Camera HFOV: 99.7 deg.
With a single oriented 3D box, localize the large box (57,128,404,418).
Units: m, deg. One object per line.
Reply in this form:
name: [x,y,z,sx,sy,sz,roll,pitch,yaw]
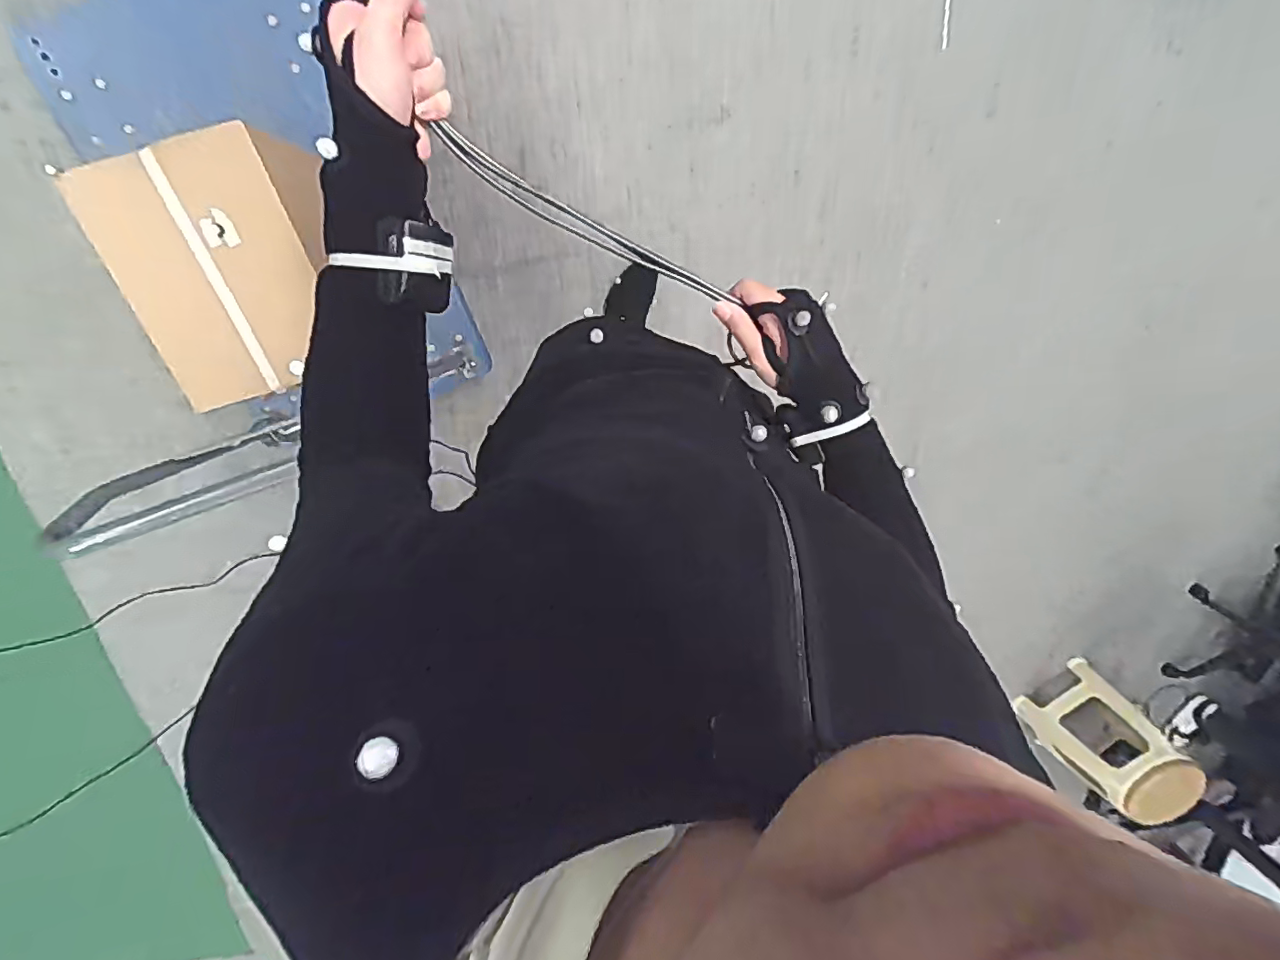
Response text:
large box: [-0.729,-0.382,1.055,0.320,0.320,0.408,-18,111,-2]
